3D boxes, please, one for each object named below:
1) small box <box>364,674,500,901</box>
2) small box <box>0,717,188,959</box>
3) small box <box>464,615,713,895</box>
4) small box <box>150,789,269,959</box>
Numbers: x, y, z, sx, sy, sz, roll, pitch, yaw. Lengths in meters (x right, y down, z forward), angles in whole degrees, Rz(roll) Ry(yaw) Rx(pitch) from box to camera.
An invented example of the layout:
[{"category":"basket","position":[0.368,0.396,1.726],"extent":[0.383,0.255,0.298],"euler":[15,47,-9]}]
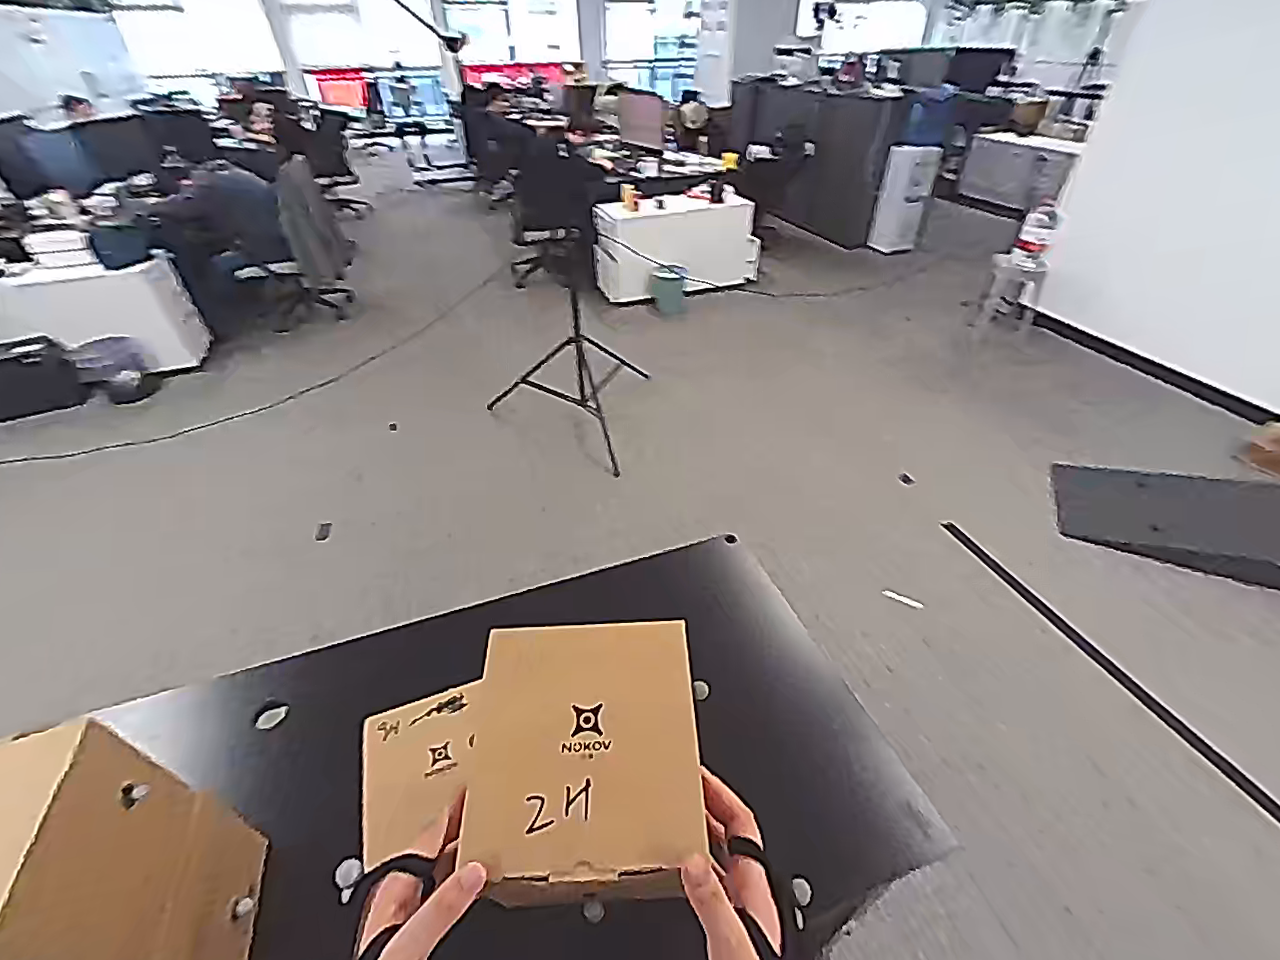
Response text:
[{"category":"small box","position":[-0.226,0.383,0.671],"extent":[0.168,0.176,0.179],"euler":[-15,42,-16]},{"category":"small box","position":[-0.540,0.347,0.465],"extent":[0.168,0.176,0.179],"euler":[-15,42,-14]},{"category":"small box","position":[-0.034,0.236,0.465],"extent":[0.168,0.176,0.179],"euler":[-2,48,0]},{"category":"small box","position":[-0.536,0.471,0.570],"extent":[0.179,0.176,0.168],"euler":[-12,41,-15]}]
